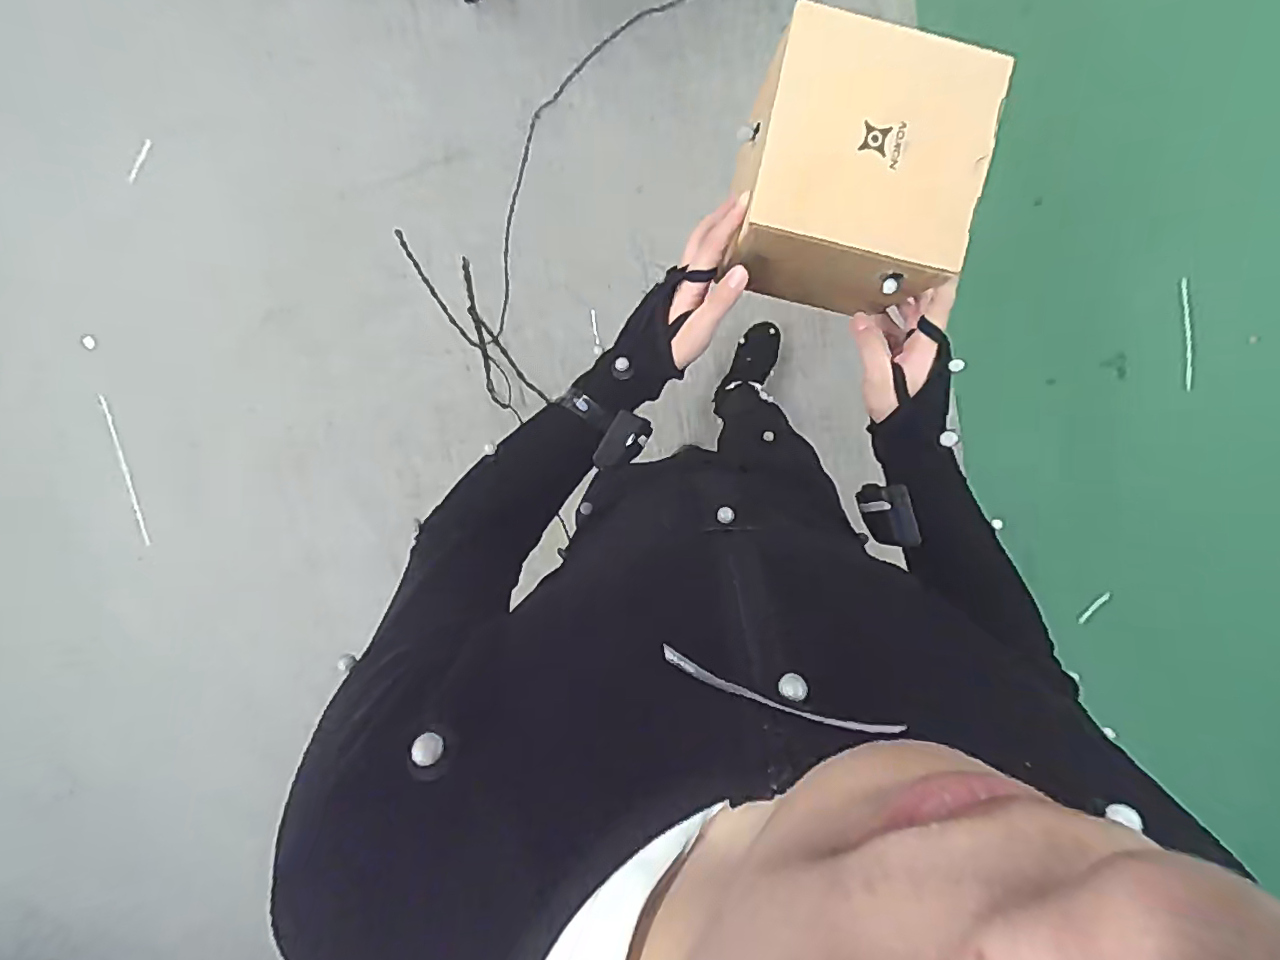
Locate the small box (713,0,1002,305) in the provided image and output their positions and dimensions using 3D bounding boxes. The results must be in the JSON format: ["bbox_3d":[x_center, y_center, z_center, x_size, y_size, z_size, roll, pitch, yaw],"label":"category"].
[{"bbox_3d":[0.173,-0.271,0.492,0.179,0.176,0.168,11,95,-3],"label":"small box"}]
